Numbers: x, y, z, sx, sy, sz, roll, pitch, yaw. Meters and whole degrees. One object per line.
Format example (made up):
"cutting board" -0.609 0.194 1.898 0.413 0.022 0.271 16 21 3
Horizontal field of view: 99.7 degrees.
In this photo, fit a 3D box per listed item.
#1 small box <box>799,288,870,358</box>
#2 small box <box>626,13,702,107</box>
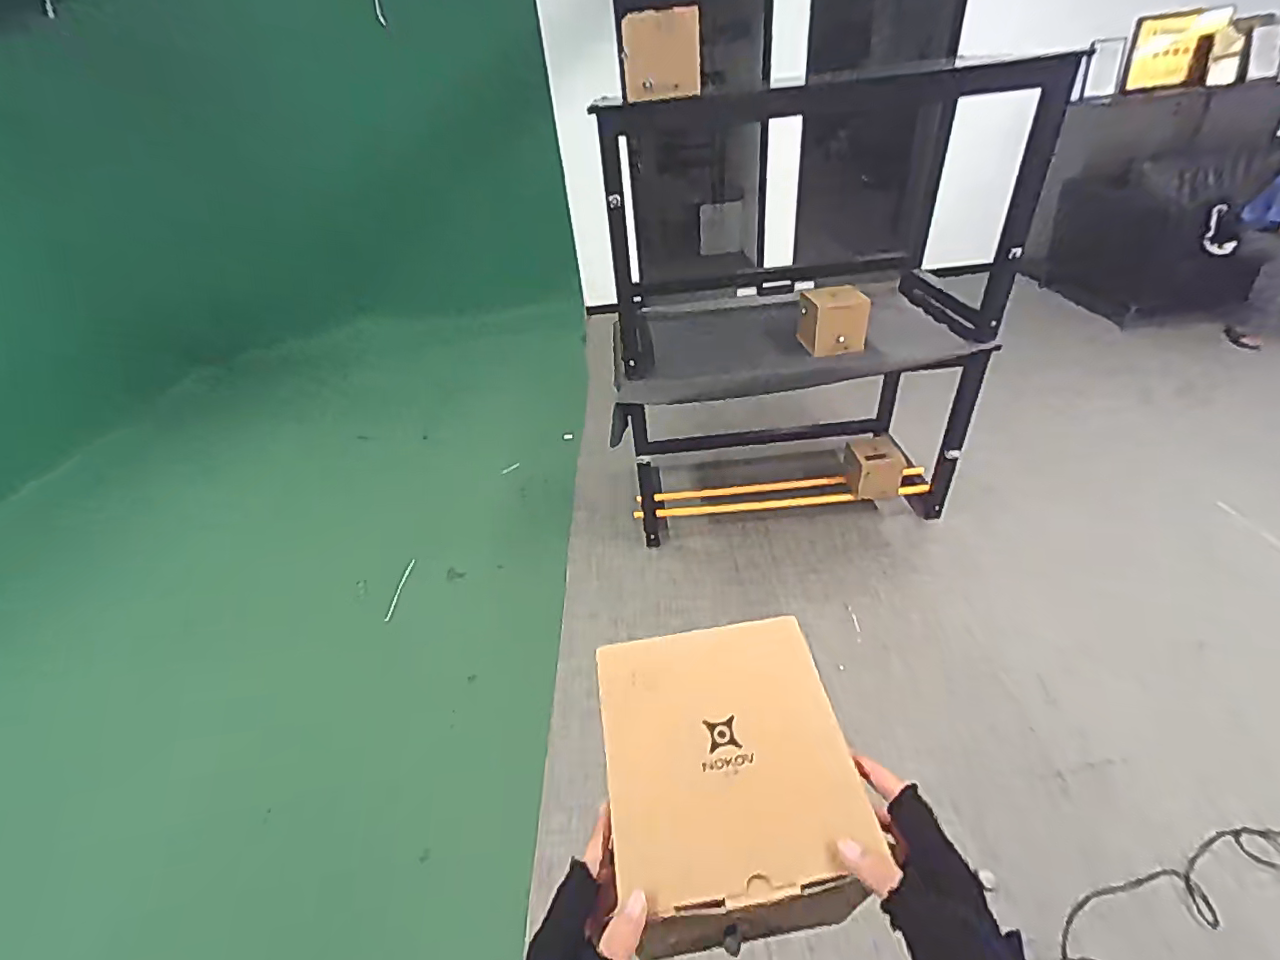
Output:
"small box" 0.633 -0.519 1.788 0.168 0.176 0.179 -7 35 0
"small box" 0.060 -1.060 1.373 0.168 0.176 0.179 -8 35 -3
